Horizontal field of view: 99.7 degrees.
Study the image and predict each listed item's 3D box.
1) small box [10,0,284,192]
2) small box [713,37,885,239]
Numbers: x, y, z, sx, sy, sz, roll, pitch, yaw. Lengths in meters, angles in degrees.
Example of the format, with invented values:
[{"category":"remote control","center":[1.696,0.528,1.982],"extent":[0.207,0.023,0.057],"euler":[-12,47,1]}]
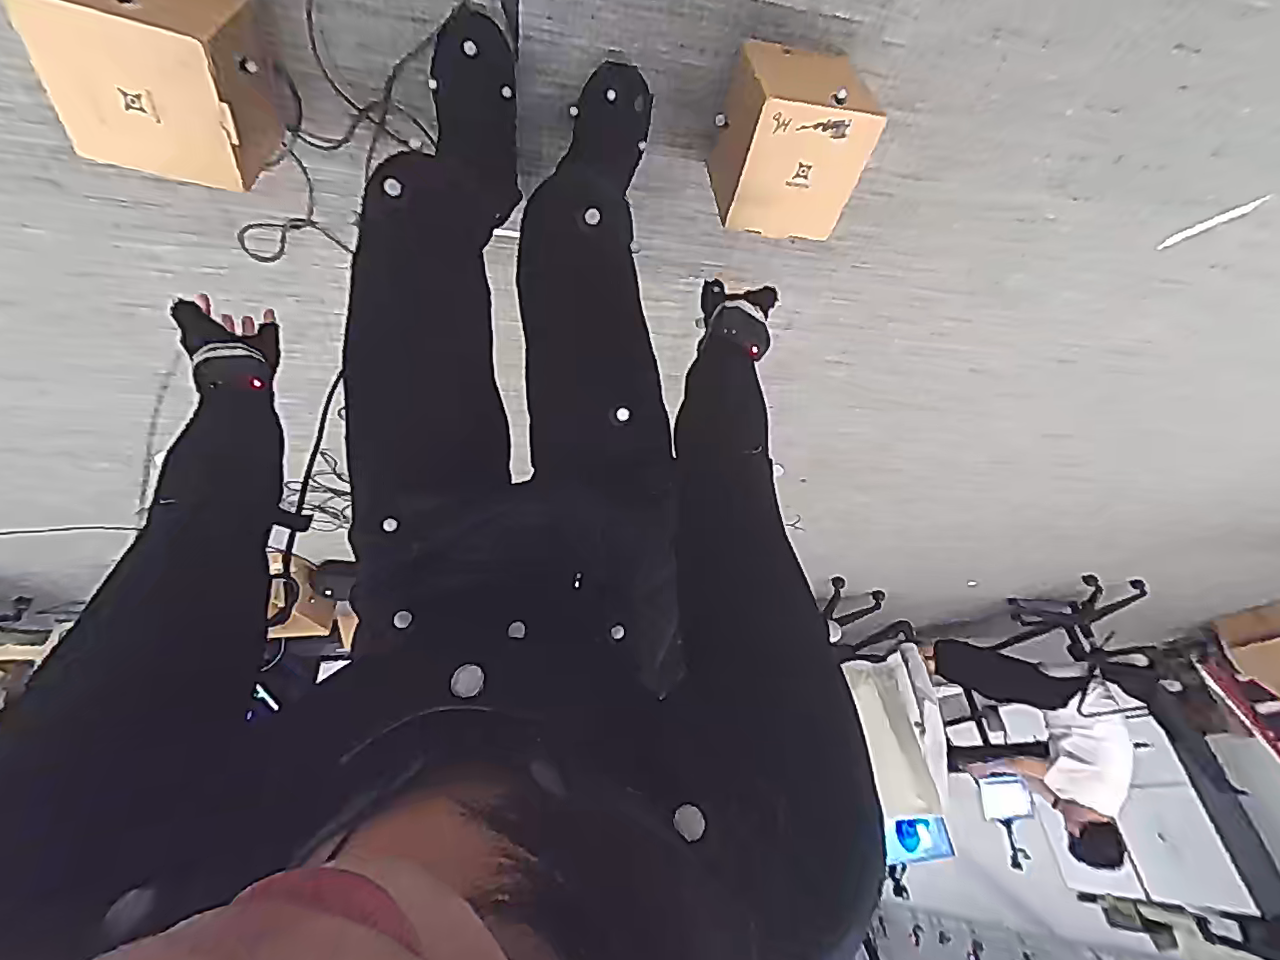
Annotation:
[{"category":"small box","center":[-0.561,-0.488,0.654],"extent":[0.179,0.176,0.168],"euler":[7,142,-14]},{"category":"small box","center":[0.208,-0.479,0.769],"extent":[0.168,0.176,0.179],"euler":[2,148,-10]}]
